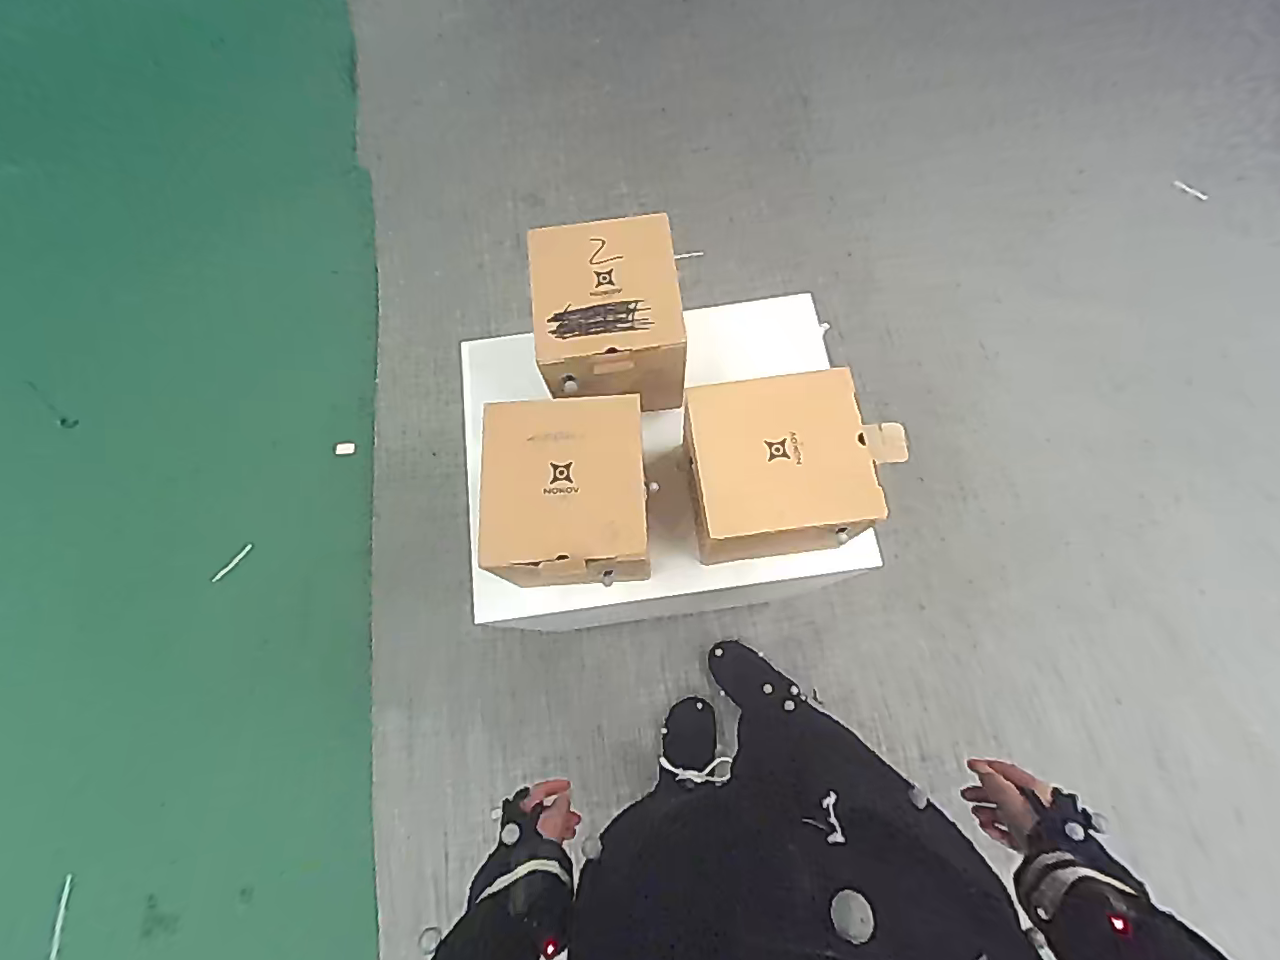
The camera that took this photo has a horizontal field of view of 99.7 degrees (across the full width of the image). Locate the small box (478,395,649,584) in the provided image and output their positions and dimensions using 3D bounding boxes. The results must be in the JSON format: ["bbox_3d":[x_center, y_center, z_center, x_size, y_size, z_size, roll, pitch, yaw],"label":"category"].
[{"bbox_3d":[-0.077,0.022,0.617,0.168,0.176,0.179,-4,71,-1],"label":"small box"}]
